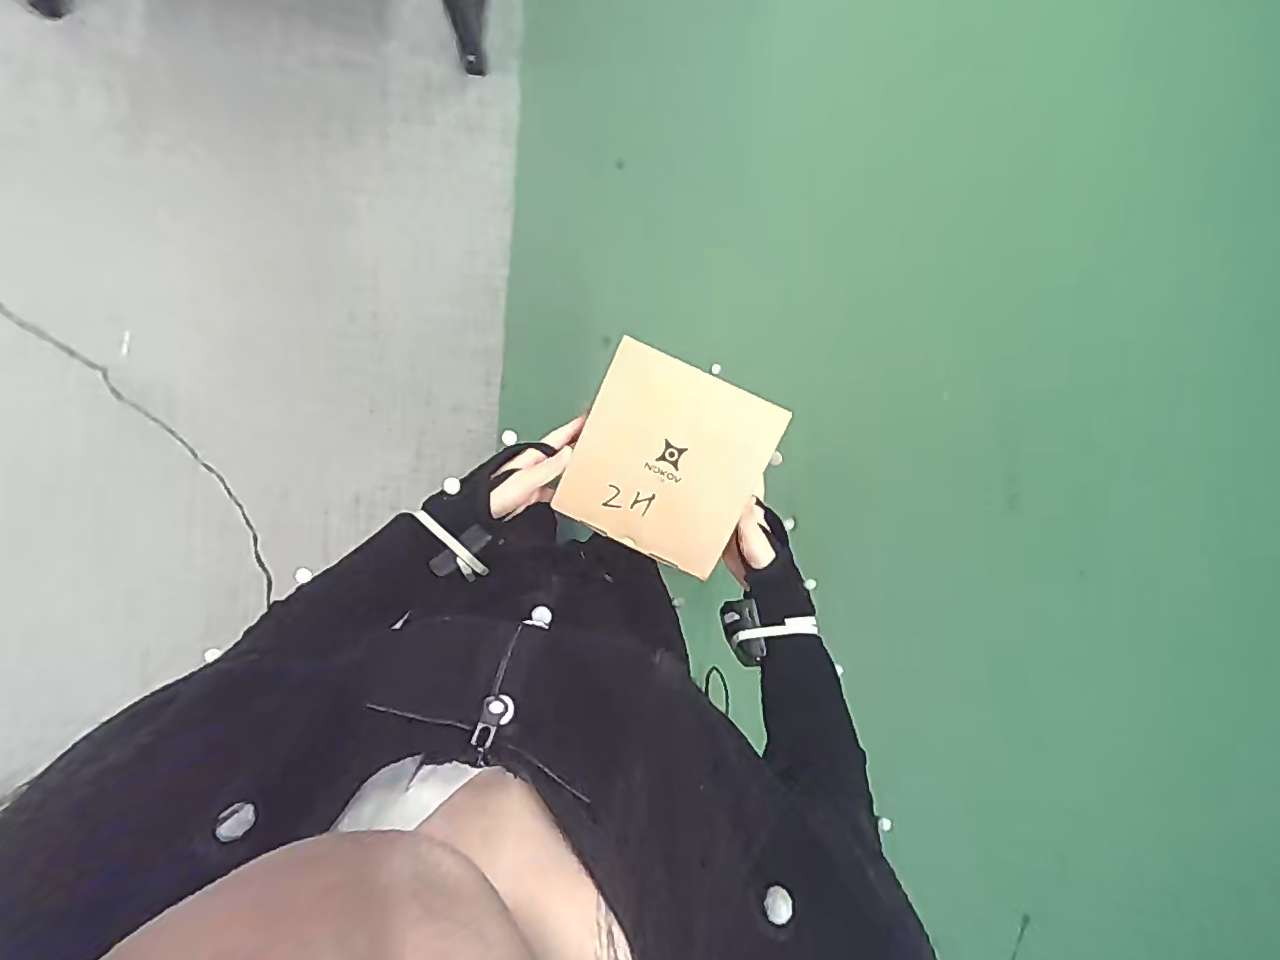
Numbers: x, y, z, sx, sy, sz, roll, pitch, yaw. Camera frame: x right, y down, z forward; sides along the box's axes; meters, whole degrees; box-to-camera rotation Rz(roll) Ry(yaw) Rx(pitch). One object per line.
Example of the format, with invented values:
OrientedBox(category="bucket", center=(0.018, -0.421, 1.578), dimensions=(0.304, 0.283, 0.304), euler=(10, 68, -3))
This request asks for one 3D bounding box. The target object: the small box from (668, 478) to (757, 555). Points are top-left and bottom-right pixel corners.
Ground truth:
OrientedBox(category="small box", center=(0.165, 0.080, 1.265), dimensions=(0.179, 0.176, 0.168), euler=(0, 91, -3))
